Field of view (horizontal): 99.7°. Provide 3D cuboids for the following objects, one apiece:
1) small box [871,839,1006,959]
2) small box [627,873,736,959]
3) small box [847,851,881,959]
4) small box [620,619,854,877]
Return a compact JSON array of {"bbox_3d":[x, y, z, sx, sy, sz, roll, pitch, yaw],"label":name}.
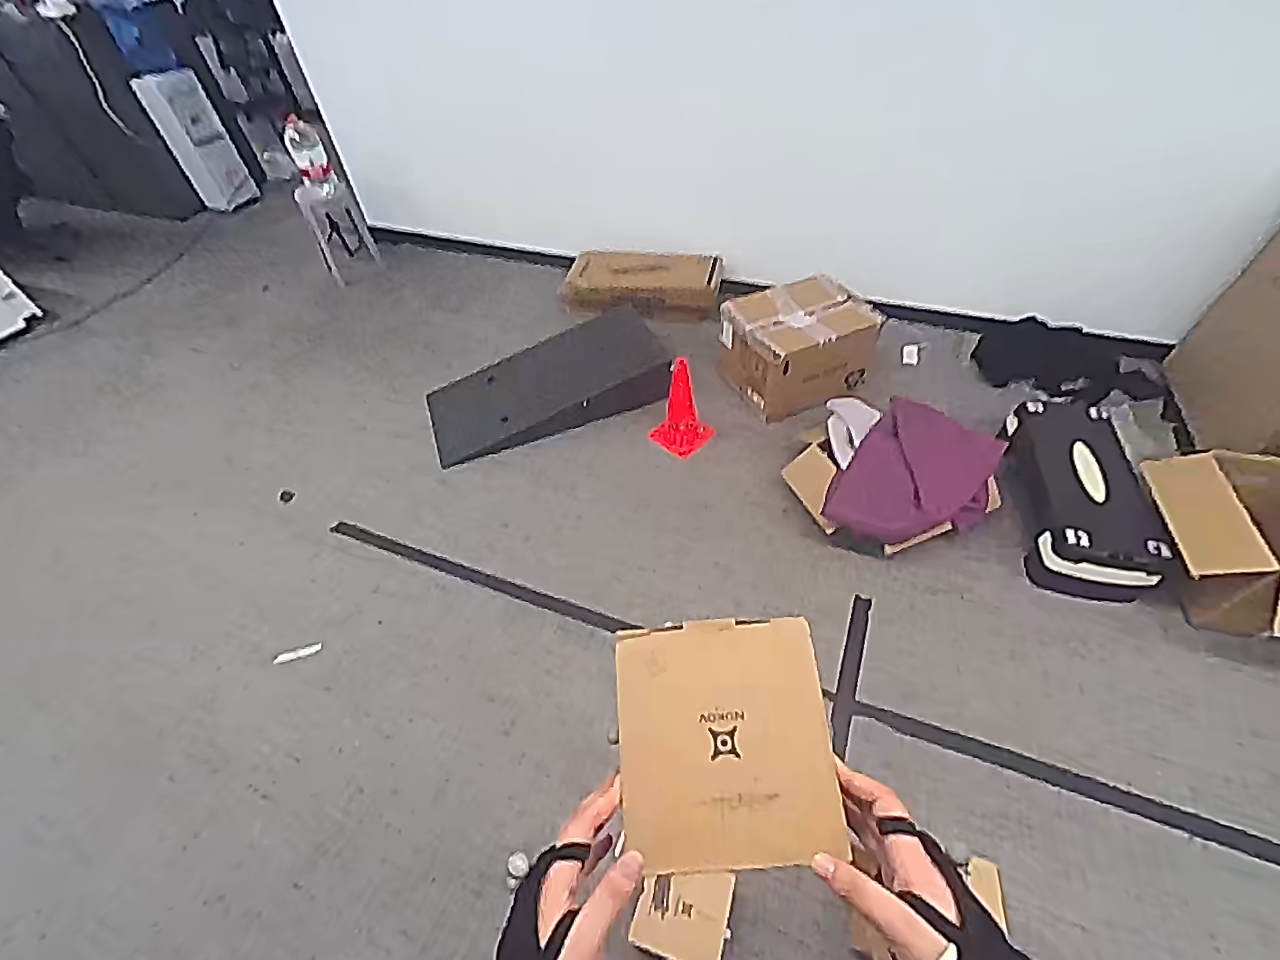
[{"bbox_3d":[0.515,0.769,0.954,0.168,0.176,0.179,10,50,12],"label":"small box"},{"bbox_3d":[0.087,0.882,1.101,0.179,0.176,0.168,13,51,15],"label":"small box"},{"bbox_3d":[0.529,0.872,1.080,0.179,0.176,0.168,10,50,13],"label":"small box"},{"bbox_3d":[0.073,0.233,0.496,0.168,0.176,0.179,-6,68,3],"label":"small box"}]
